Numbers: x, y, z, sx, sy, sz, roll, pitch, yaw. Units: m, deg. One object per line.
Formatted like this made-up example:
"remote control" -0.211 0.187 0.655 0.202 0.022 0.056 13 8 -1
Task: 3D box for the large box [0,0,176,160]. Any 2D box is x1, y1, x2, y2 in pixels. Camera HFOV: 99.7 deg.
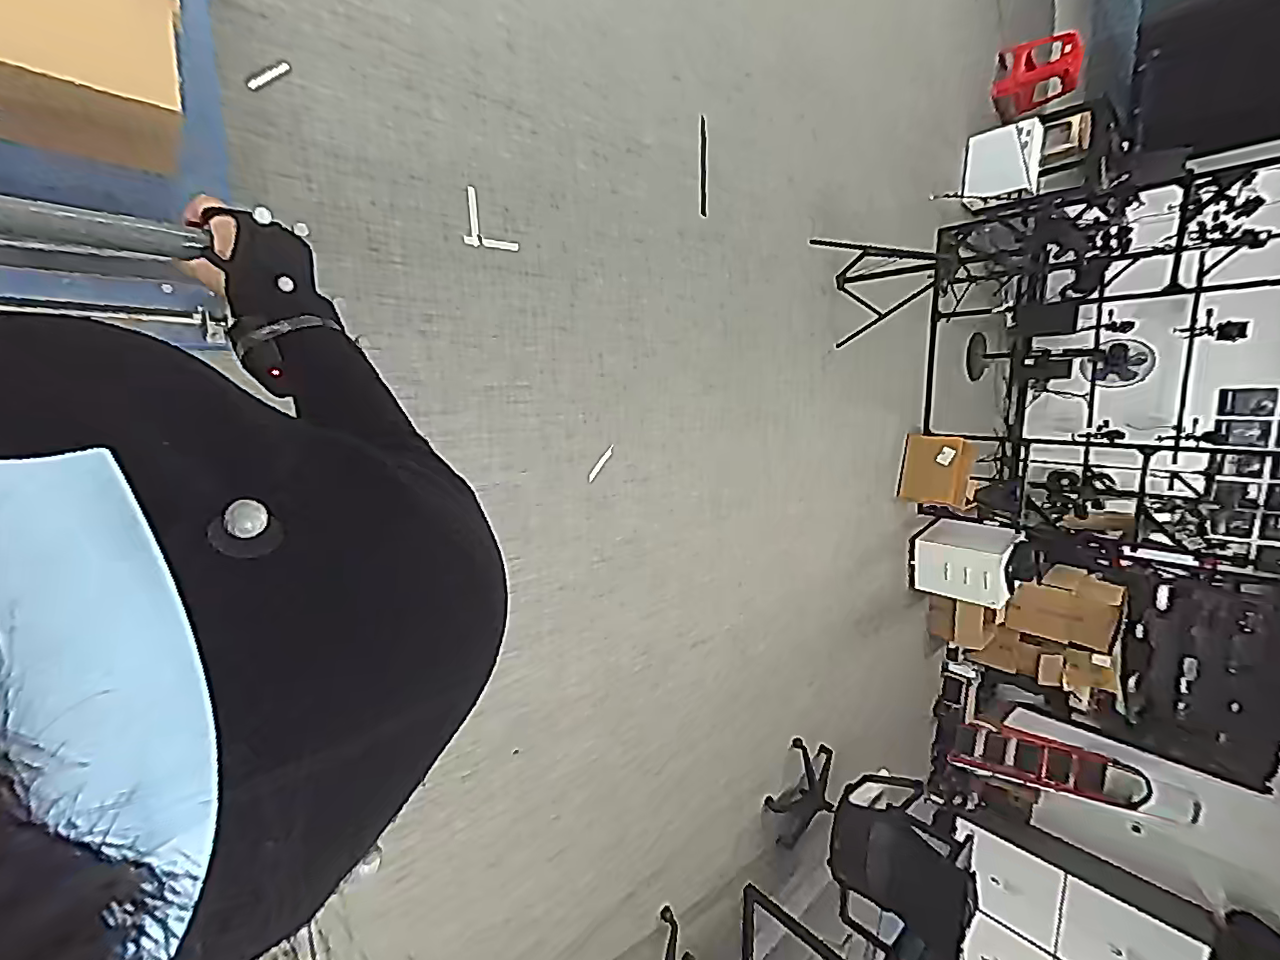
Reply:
"large box" -0.905 -0.686 0.722 0.408 0.320 0.320 -7 101 -41
